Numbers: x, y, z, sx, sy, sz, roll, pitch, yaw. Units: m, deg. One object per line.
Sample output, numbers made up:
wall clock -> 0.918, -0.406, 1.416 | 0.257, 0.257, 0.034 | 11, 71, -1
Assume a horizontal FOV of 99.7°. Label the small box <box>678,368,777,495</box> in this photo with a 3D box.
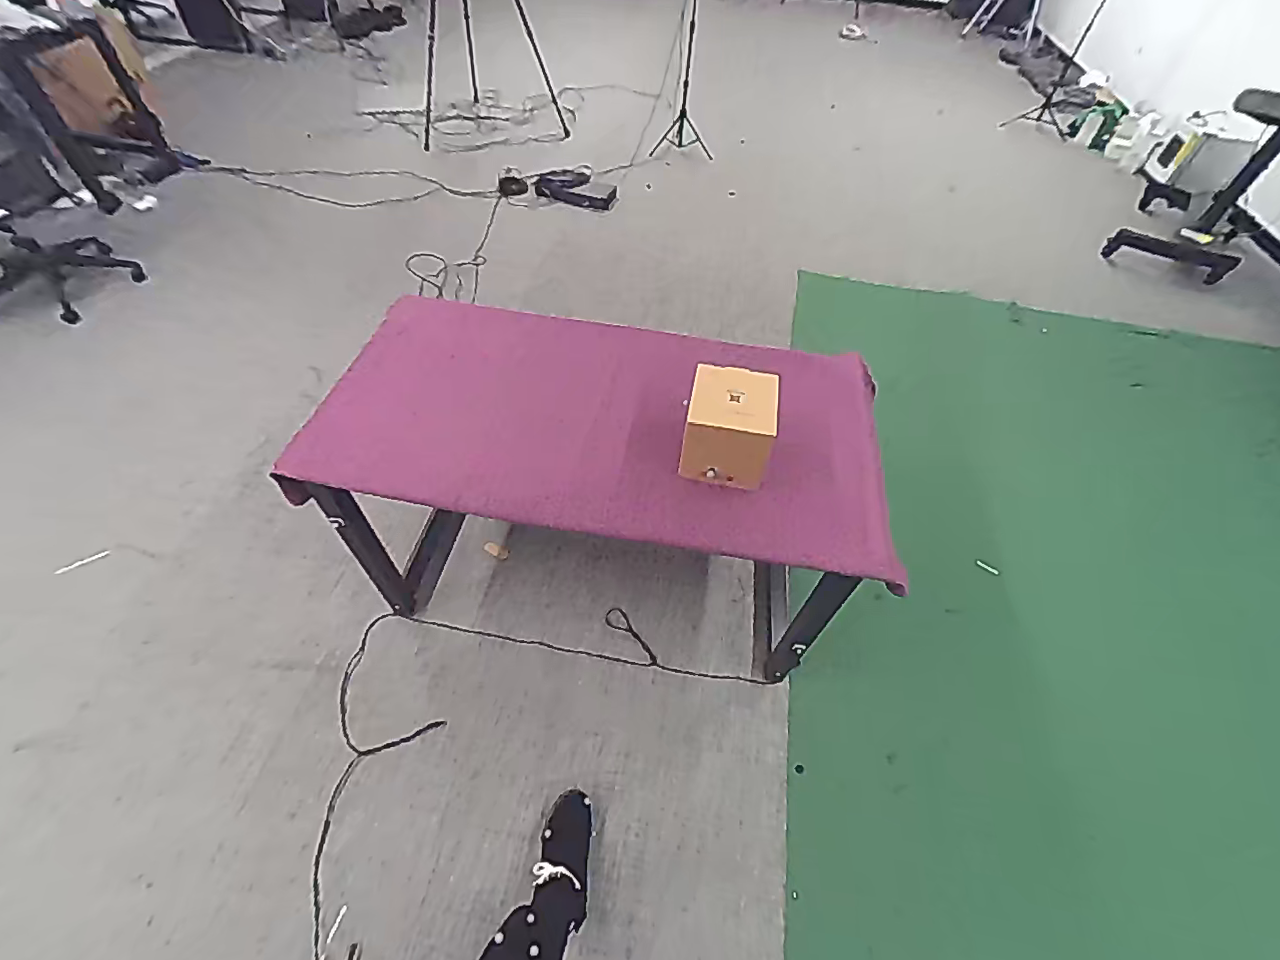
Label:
small box -> 0.173, -0.097, 1.093 | 0.168, 0.176, 0.179 | 10, 51, 6
